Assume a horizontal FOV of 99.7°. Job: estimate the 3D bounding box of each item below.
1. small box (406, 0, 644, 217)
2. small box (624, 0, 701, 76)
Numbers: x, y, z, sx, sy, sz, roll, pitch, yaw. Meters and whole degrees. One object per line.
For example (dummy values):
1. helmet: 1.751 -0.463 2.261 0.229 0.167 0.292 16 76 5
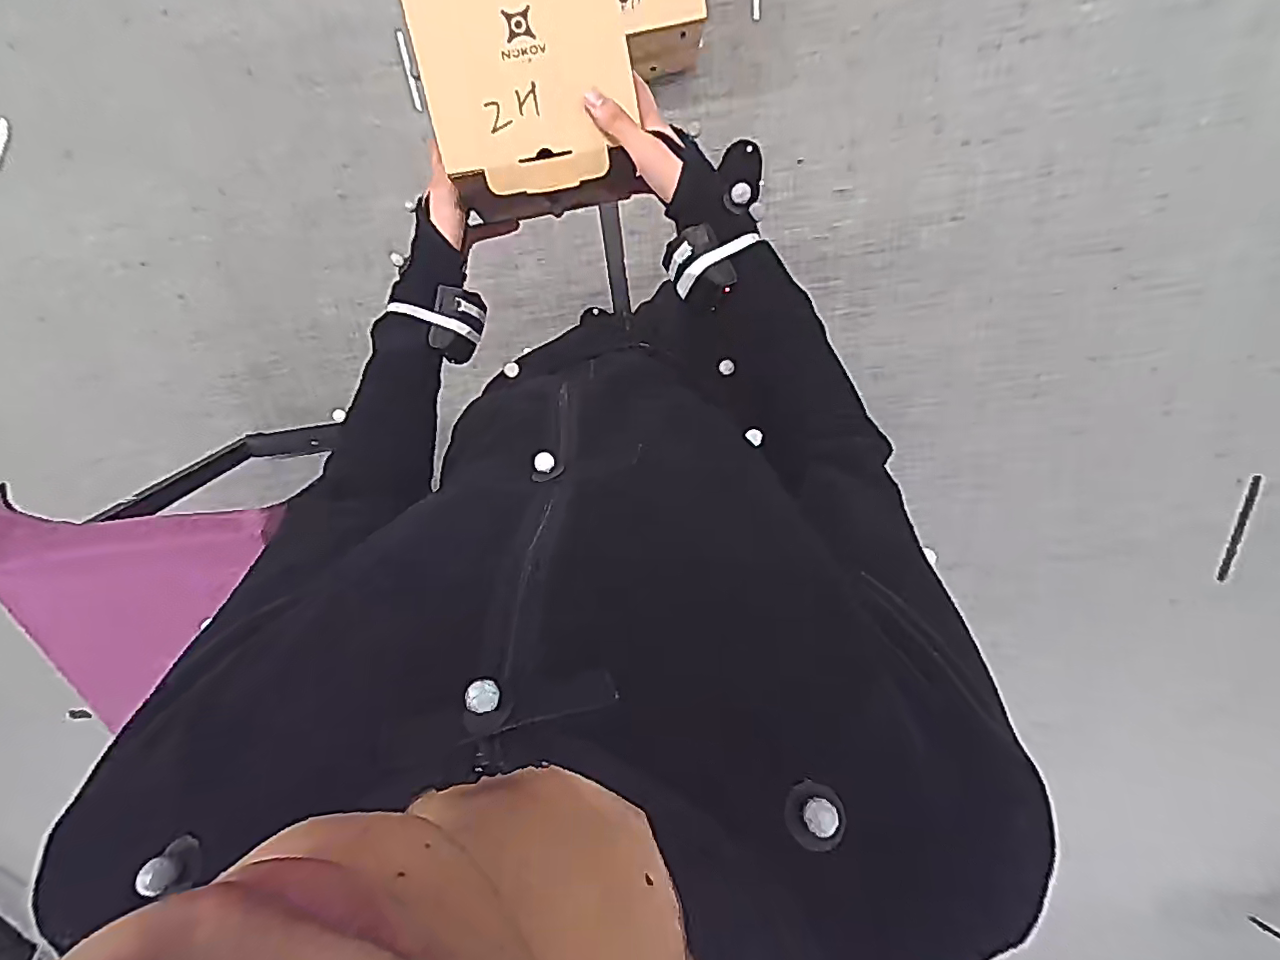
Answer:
1. small box: -0.098 -0.364 0.490 0.168 0.176 0.179 -12 103 -2
2. small box: 0.031 -0.971 1.125 0.168 0.176 0.179 -10 115 8
